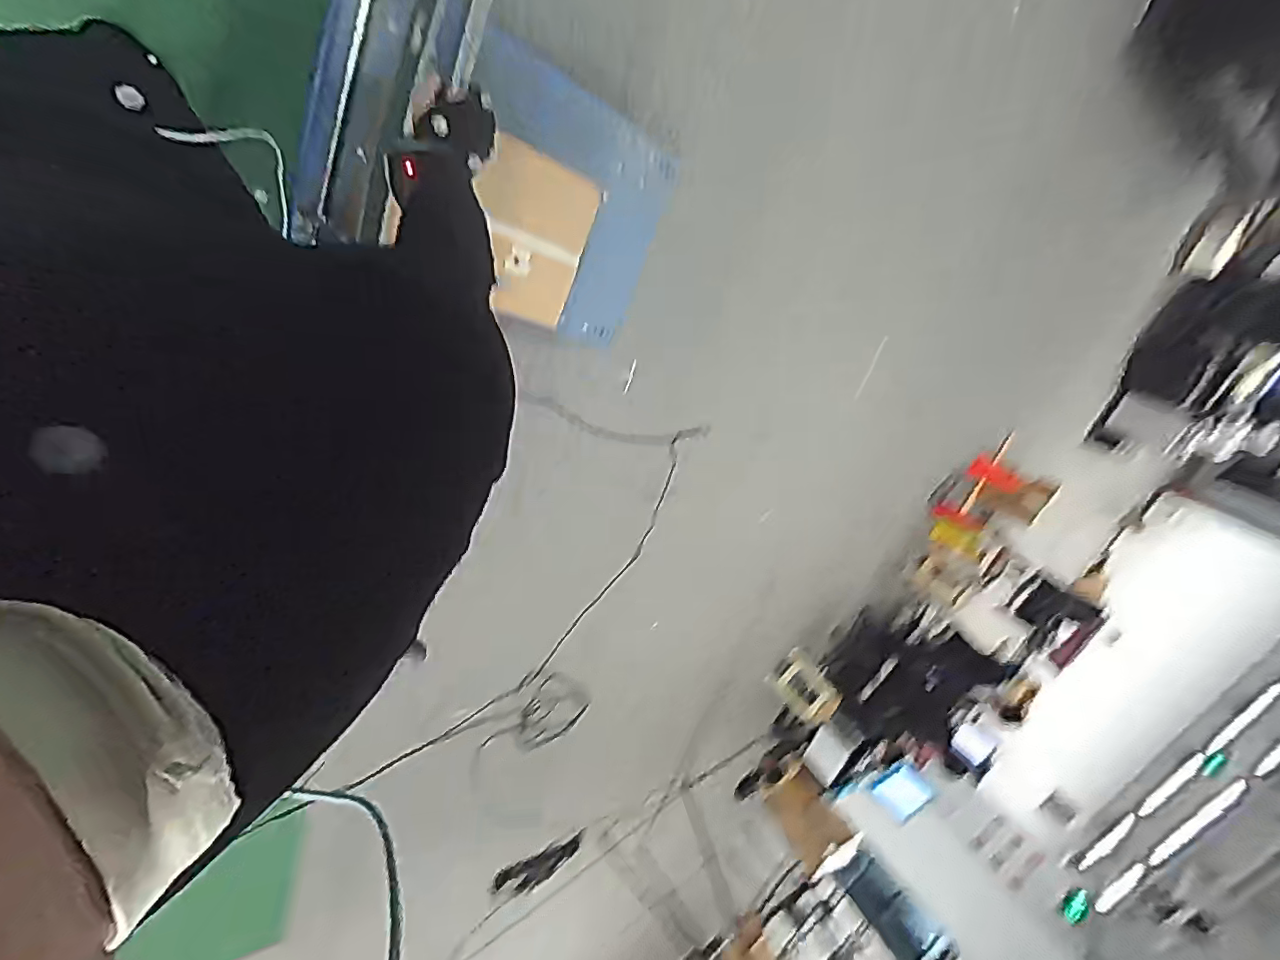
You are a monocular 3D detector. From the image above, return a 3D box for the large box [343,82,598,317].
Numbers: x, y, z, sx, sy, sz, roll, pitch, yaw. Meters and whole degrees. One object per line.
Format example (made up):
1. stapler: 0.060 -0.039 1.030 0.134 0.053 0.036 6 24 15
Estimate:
1. large box: -0.374 -0.592 1.172 0.408 0.320 0.320 6 117 -42
